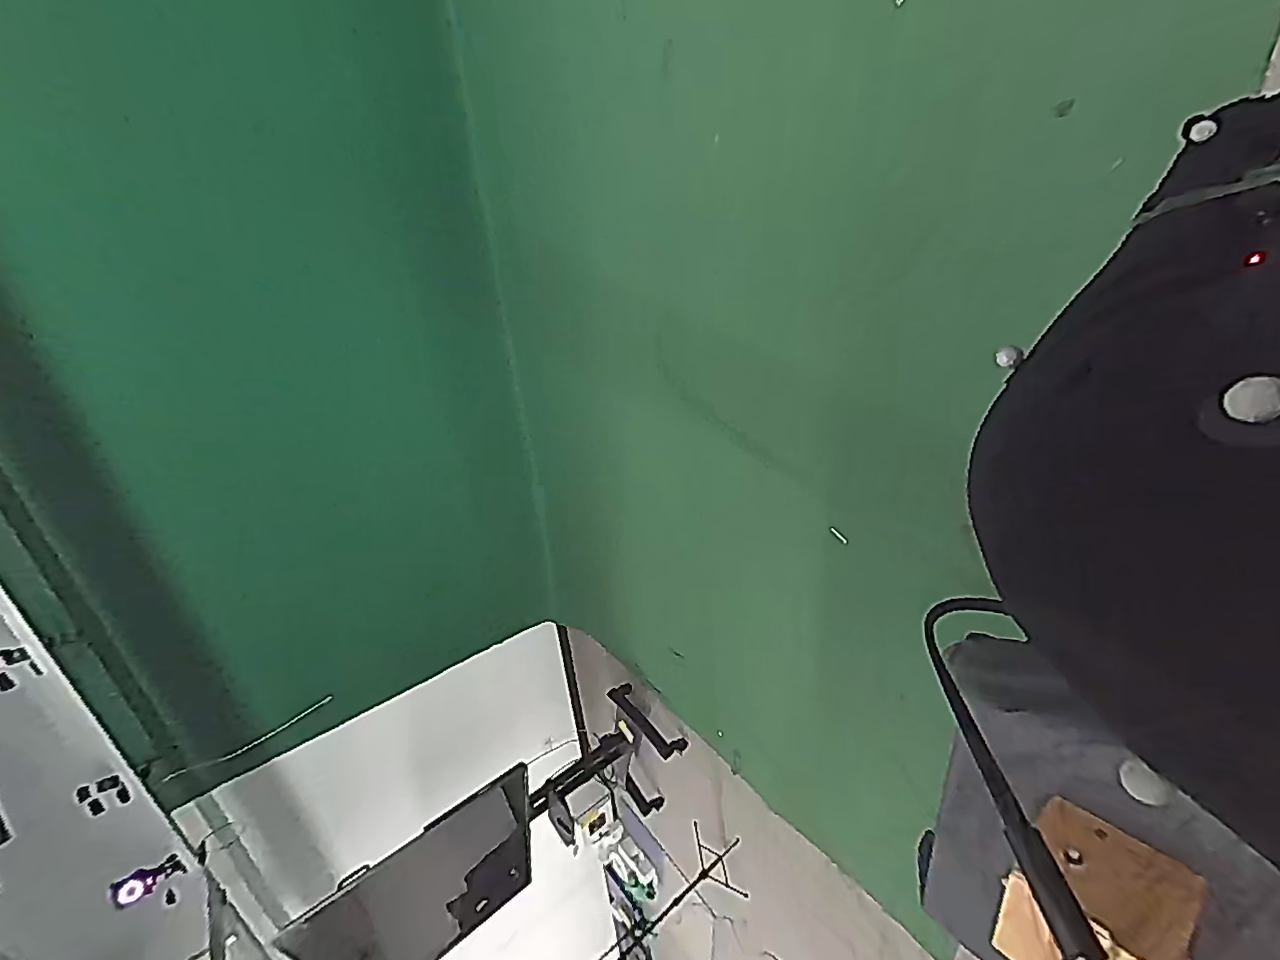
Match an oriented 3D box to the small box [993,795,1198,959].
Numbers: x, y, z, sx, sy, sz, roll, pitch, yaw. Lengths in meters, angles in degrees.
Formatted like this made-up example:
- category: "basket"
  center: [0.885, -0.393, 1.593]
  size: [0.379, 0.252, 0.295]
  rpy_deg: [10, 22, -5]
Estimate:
- category: "small box"
  center: [0.621, 0.586, 0.743]
  size: [0.168, 0.176, 0.179]
  rpy_deg: [22, 128, 50]
